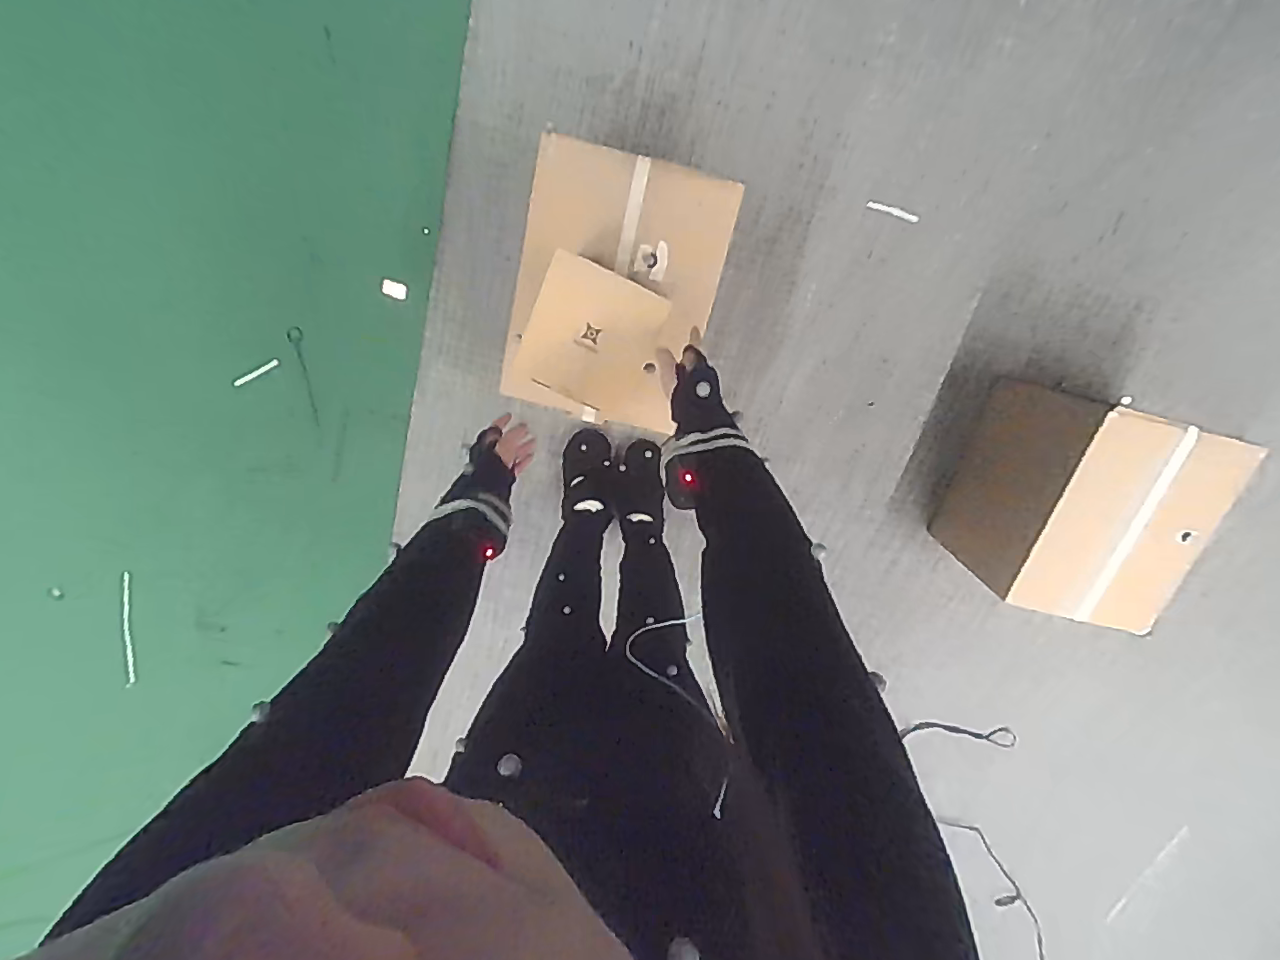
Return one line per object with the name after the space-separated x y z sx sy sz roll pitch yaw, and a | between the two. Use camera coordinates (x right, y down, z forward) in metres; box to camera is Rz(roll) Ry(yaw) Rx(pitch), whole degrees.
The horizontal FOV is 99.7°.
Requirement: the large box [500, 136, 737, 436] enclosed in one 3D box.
-0.044 -0.336 1.005 0.320 0.320 0.408 13 109 -5 | large box

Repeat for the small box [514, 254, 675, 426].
-0.063 -0.208 0.791 0.168 0.176 0.179 24 109 -7 | small box
